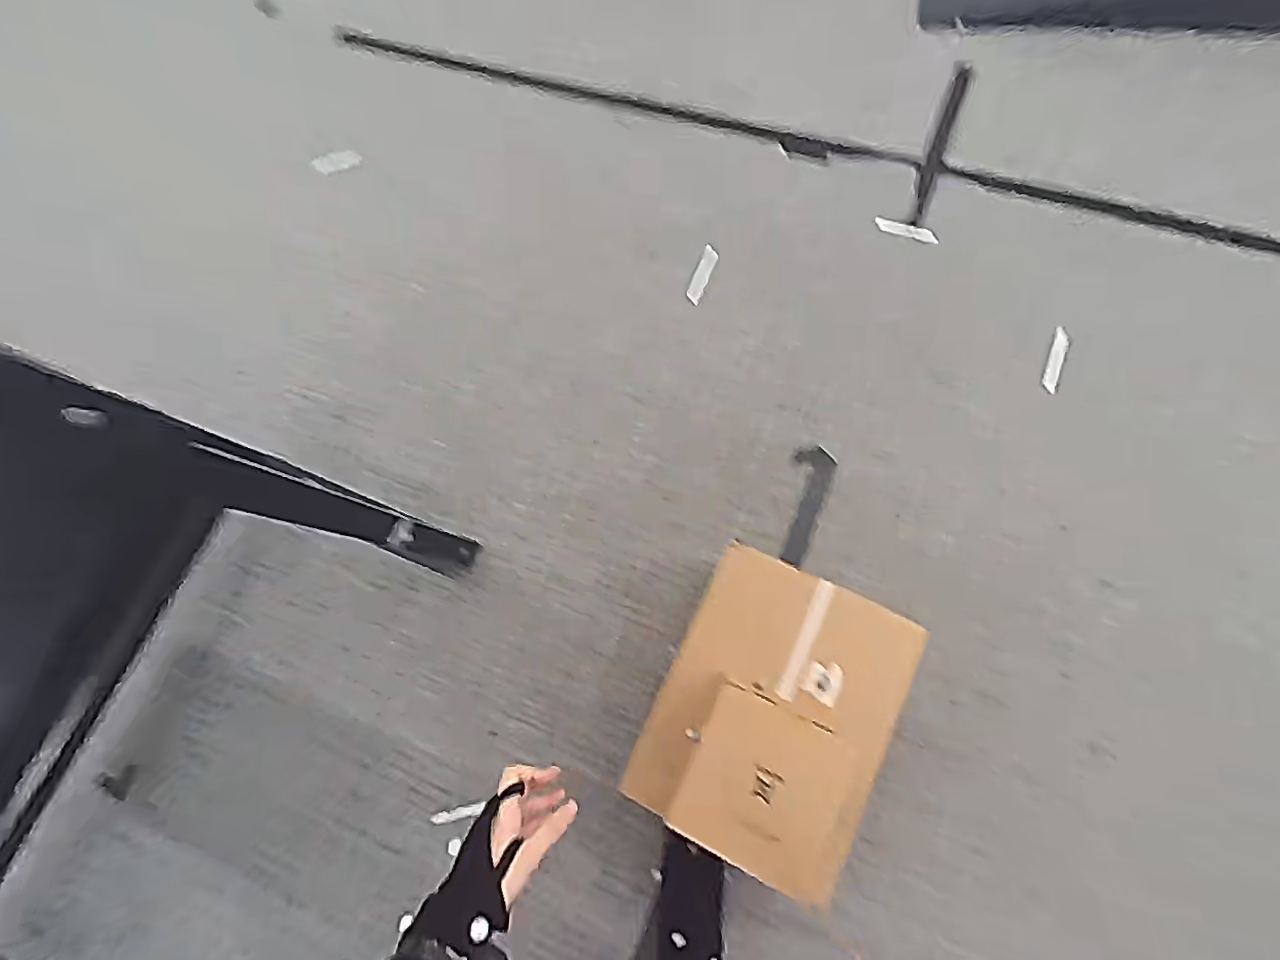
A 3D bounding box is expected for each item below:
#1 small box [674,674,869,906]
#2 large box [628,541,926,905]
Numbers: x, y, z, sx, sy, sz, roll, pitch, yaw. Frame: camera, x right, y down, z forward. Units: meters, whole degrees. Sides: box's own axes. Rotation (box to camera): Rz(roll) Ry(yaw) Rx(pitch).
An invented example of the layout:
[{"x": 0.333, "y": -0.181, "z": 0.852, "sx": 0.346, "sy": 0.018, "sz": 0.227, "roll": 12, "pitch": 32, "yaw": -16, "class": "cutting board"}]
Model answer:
[{"x": 0.153, "y": 0.360, "z": 0.674, "sx": 0.168, "sy": 0.176, "sz": 0.179, "roll": 25, "pitch": 79, "yaw": 13, "class": "small box"}, {"x": 0.213, "y": 0.370, "z": 0.921, "sx": 0.320, "sy": 0.320, "sz": 0.408, "roll": 25, "pitch": 78, "yaw": 11, "class": "large box"}]
